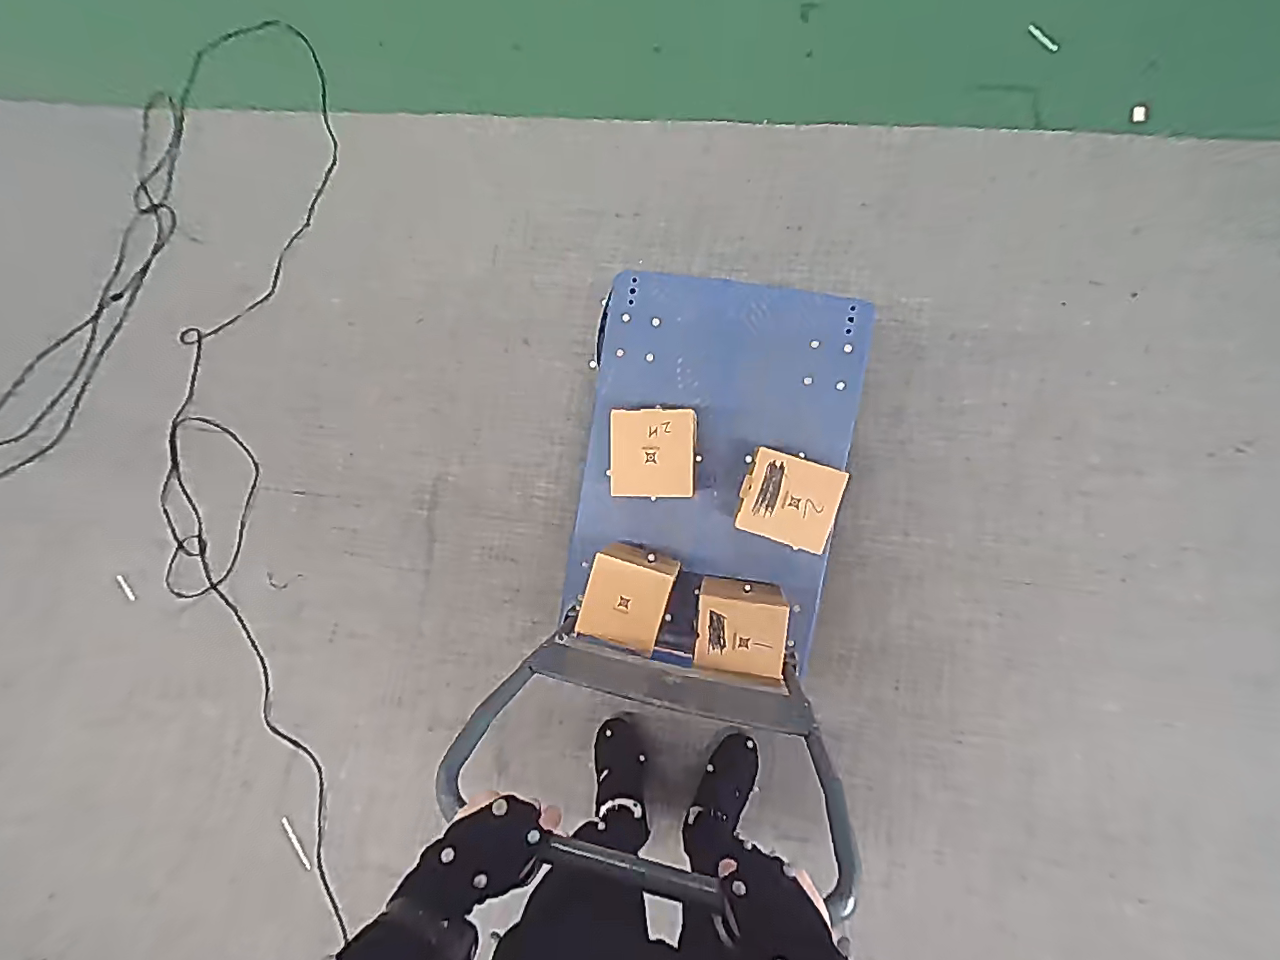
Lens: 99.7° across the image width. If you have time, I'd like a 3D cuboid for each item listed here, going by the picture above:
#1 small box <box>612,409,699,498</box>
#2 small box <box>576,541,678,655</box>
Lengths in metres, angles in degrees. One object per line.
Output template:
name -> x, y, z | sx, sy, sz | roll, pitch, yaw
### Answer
small box -> 0.038, -0.058, 1.143 | 0.168, 0.176, 0.179 | 1, 93, 8
small box -> -0.020, 0.244, 1.168 | 0.168, 0.176, 0.179 | 17, 96, 7
